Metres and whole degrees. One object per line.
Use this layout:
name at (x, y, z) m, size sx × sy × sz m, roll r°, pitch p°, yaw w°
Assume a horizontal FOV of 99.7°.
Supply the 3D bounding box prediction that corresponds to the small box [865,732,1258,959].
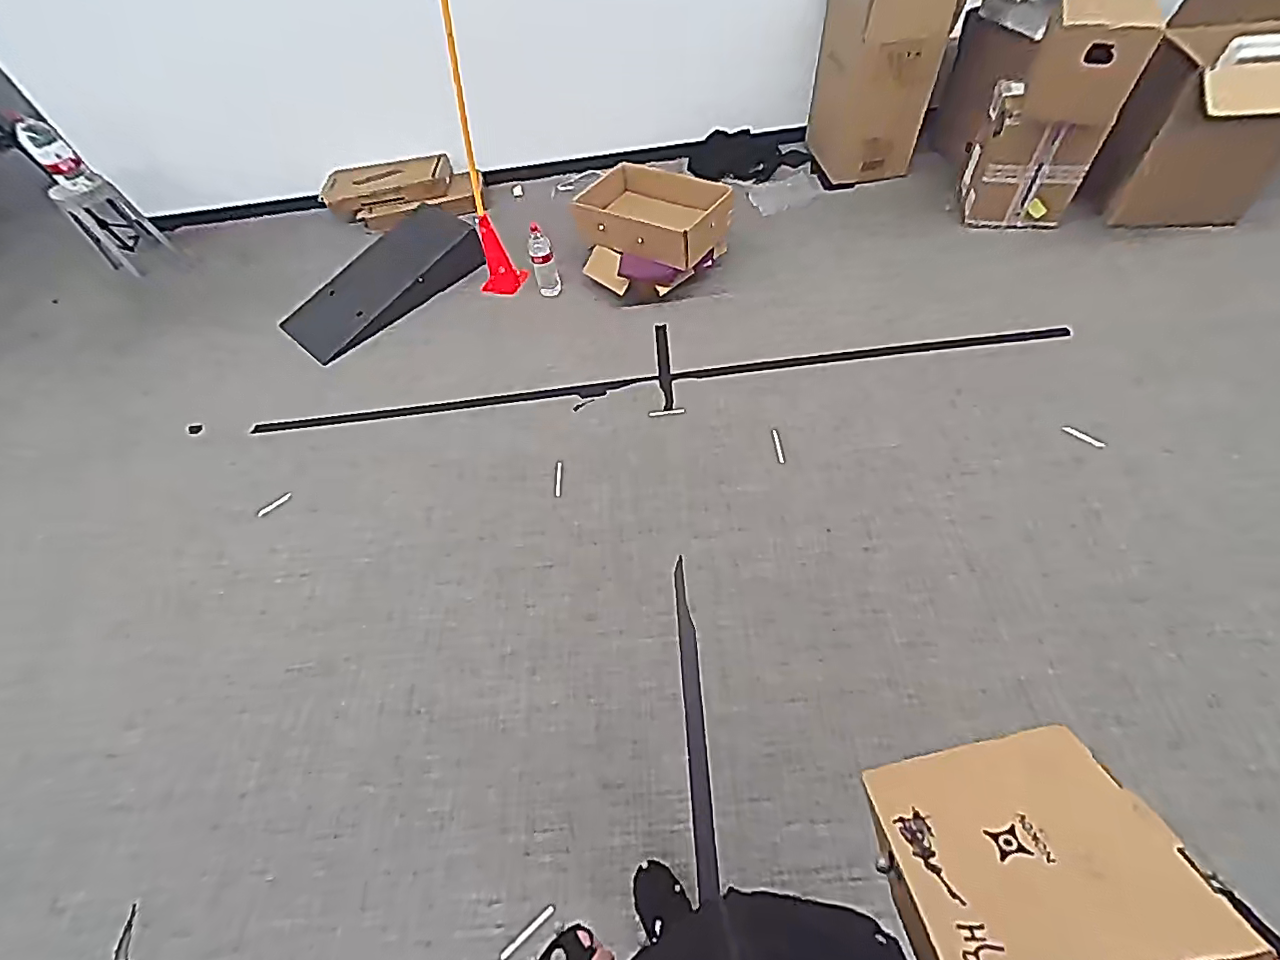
small box at (0.304, 0.339, 0.425) m, size 0.179 × 0.176 × 0.168 m, roll -17°, pitch 19°, yaw 7°
